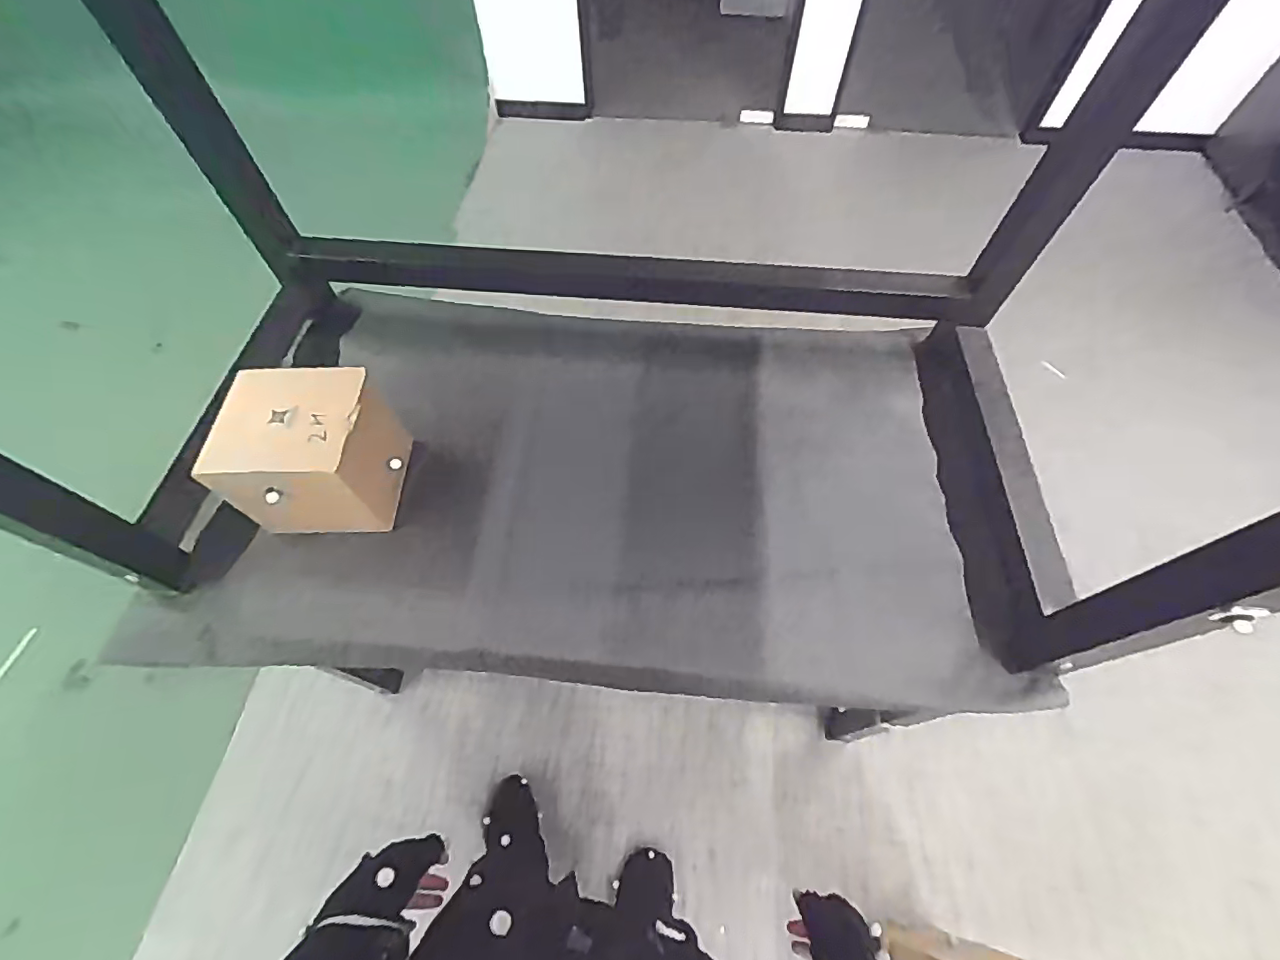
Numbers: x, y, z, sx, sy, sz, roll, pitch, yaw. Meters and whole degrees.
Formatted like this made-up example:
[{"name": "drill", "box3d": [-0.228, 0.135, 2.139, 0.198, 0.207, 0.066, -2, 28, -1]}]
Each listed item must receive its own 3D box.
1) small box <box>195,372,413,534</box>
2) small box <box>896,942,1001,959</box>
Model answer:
[{"name": "small box", "box3d": [-0.445, -0.031, 0.752, 0.179, 0.176, 0.168, -1, 60, 0]}, {"name": "small box", "box3d": [0.535, 0.872, 0.862, 0.168, 0.176, 0.179, 2, 58, 2]}]
